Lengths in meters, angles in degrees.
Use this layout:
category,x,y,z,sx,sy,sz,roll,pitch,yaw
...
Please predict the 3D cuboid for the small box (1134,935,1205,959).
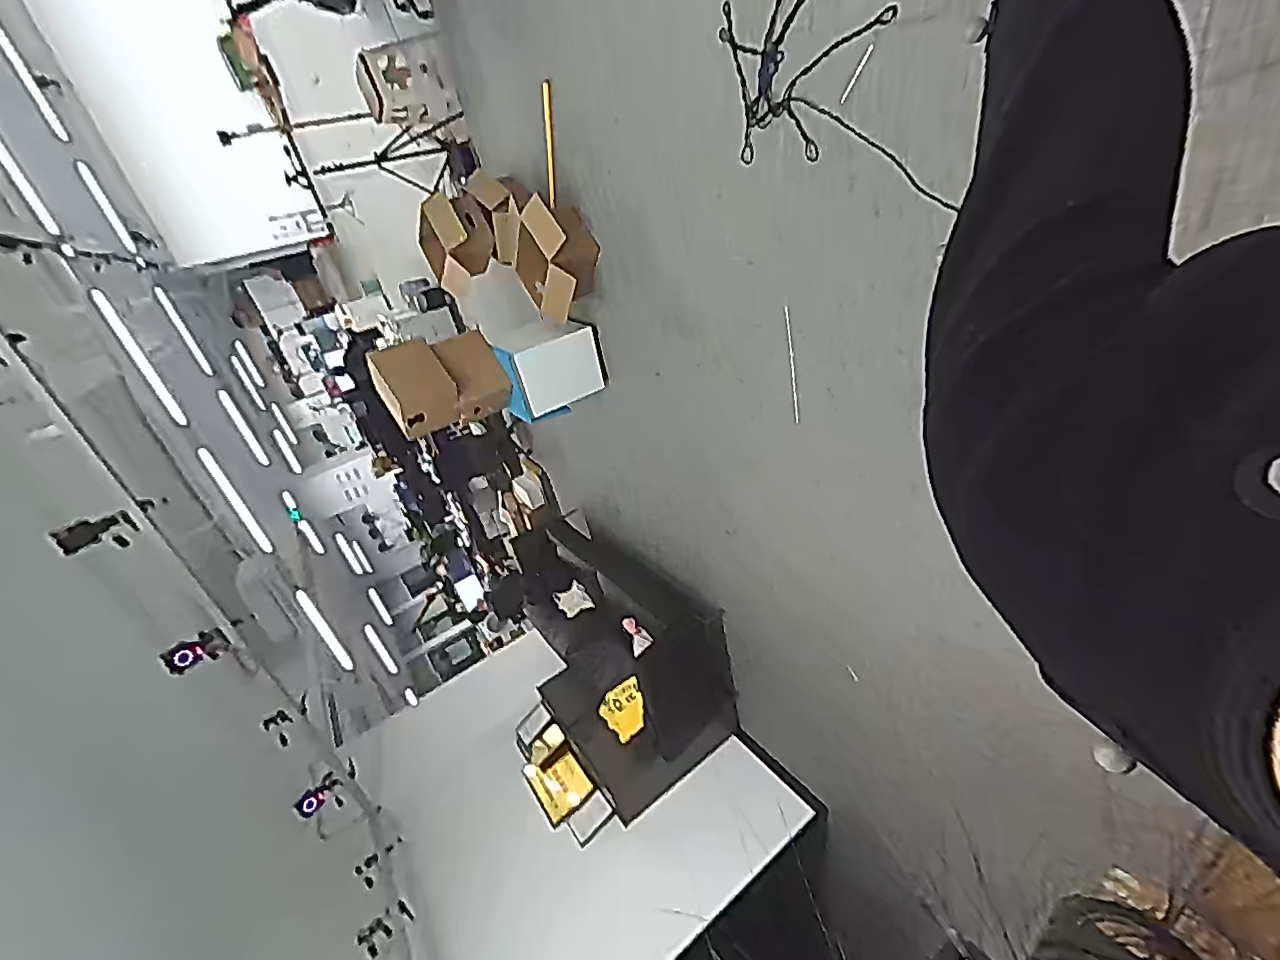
category,x,y,z,sx,sy,sz,roll,pitch,yaw
small box,1.304,1.256,1.301,0.168,0.176,0.179,39,147,42
